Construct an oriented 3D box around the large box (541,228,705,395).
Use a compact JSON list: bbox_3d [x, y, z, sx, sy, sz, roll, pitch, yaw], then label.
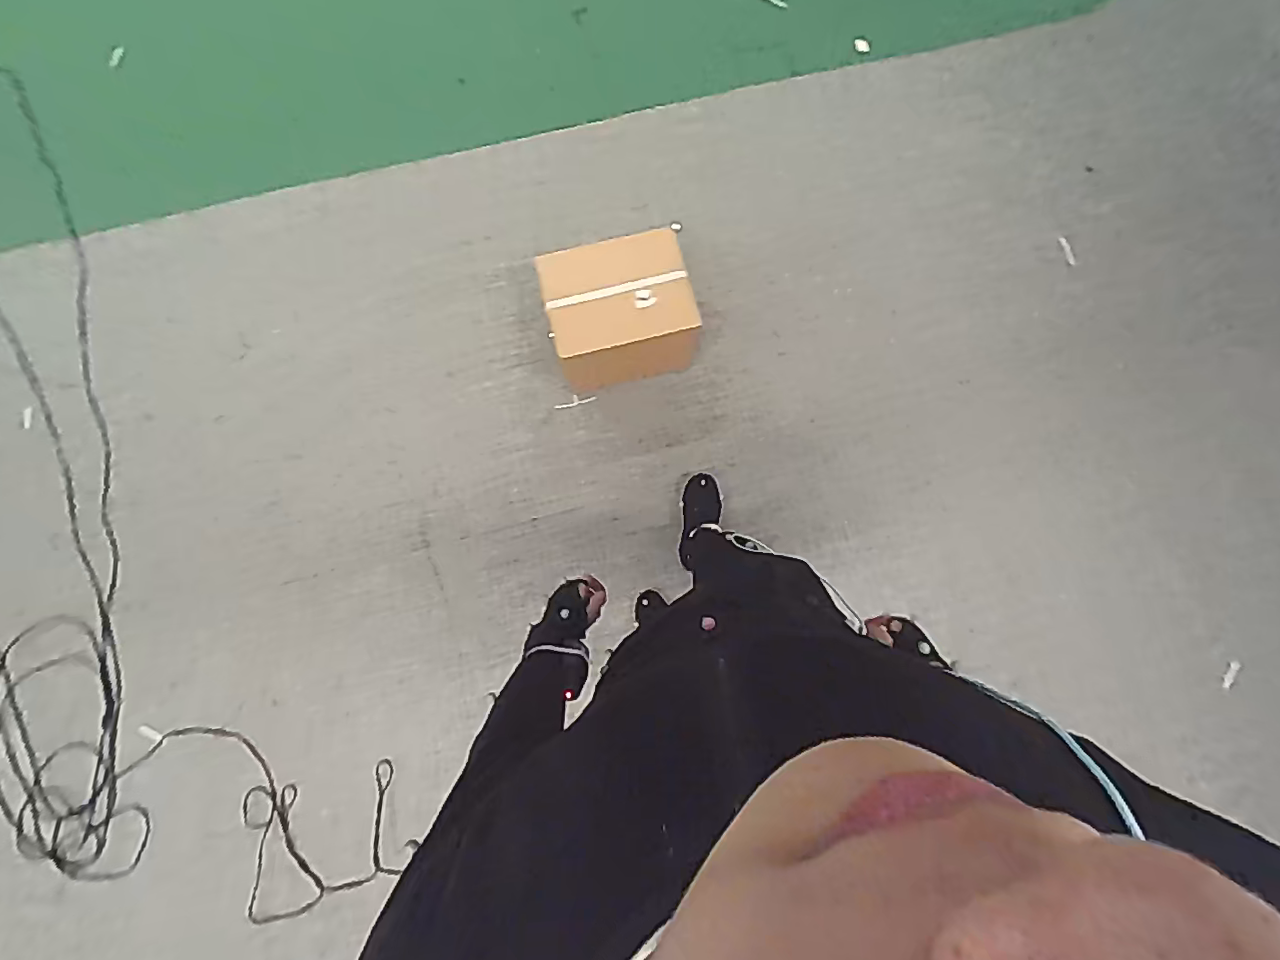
[{"bbox_3d":[-0.051,-0.491,1.632,0.408,0.320,0.320,-14,80,-3],"label":"large box"}]
